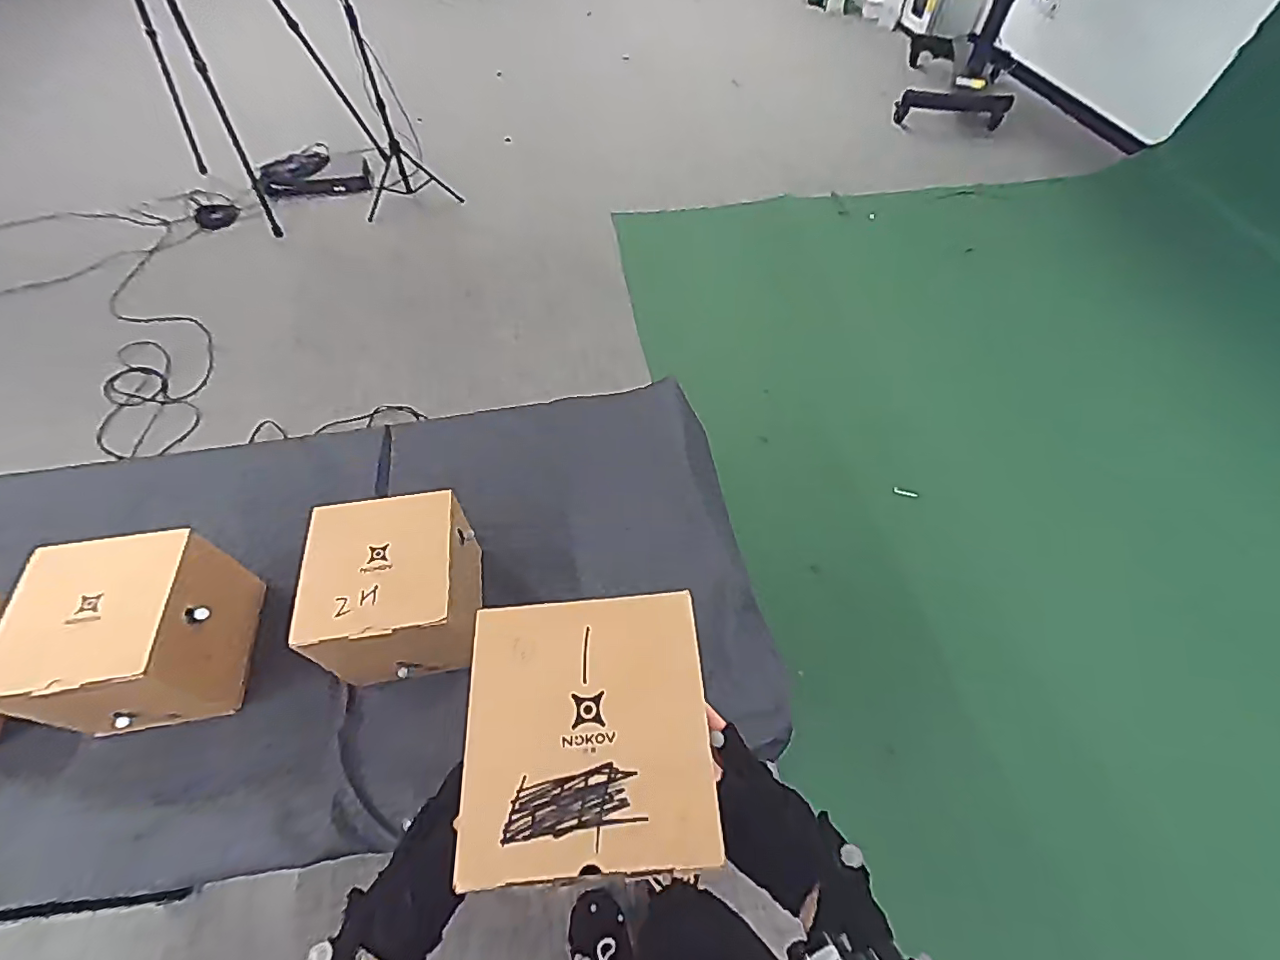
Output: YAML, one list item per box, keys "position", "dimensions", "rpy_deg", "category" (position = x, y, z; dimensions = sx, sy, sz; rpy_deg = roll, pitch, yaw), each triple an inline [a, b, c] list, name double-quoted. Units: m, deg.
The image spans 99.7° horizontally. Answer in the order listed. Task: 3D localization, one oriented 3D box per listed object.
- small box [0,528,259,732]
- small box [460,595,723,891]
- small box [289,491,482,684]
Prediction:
- position: [-0.594, 0.181, 0.643]
  dimensions: [0.168, 0.176, 0.179]
  rpy_deg: [-7, 57, -8]
  category: "small box"
- position: [-0.030, 0.208, 0.437]
  dimensions: [0.168, 0.176, 0.179]
  rpy_deg: [-4, 58, -1]
  category: "small box"
- position: [-0.301, 0.138, 0.682]
  dimensions: [0.168, 0.176, 0.179]
  rpy_deg: [-7, 56, -7]
  category: "small box"
